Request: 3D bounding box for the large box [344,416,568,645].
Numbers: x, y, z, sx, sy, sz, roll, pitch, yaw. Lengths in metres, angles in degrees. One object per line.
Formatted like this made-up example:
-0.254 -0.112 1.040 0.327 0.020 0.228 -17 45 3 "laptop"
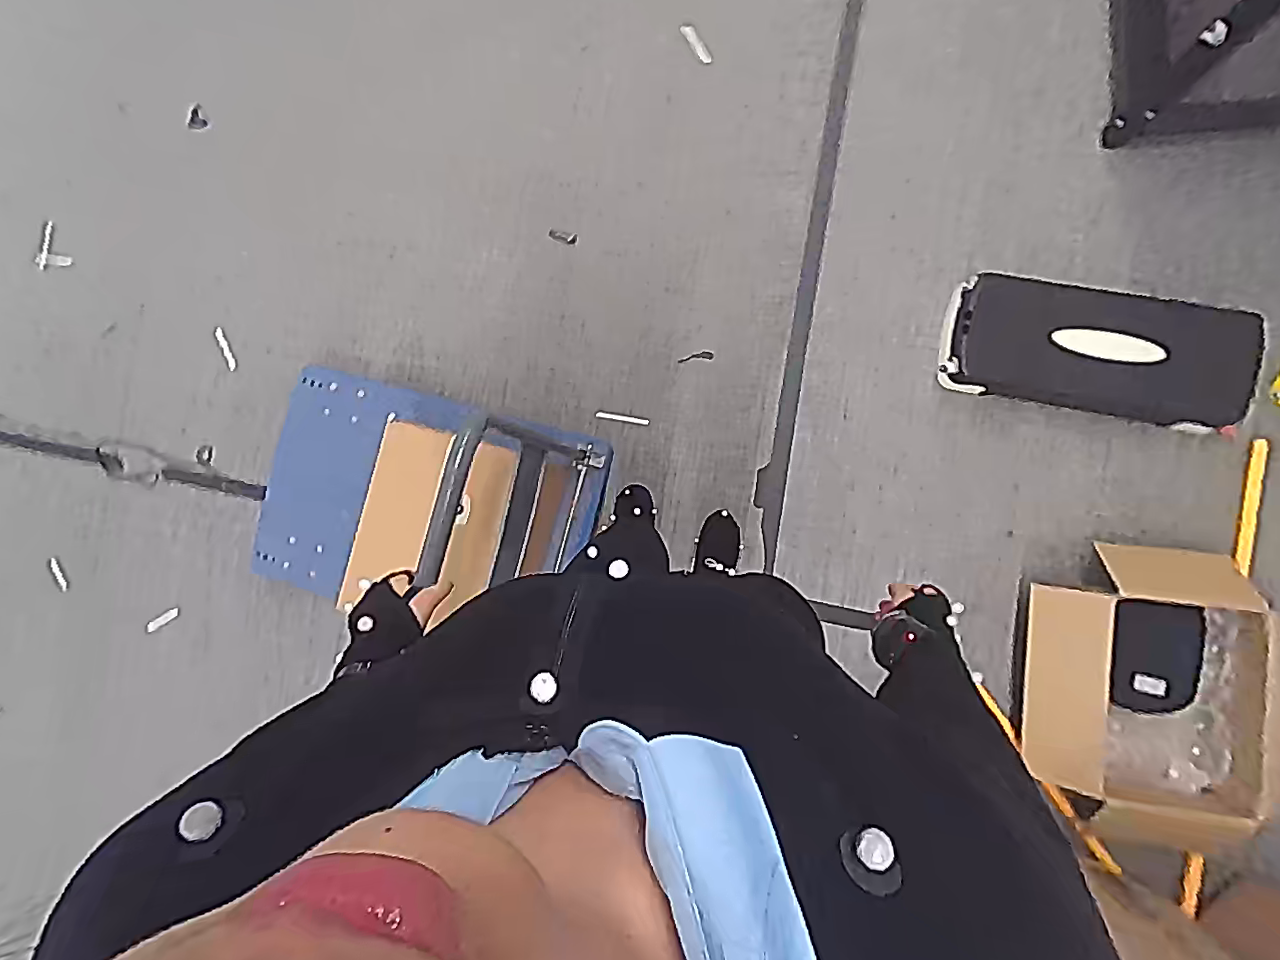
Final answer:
-0.390 0.107 1.227 0.320 0.320 0.408 16 89 7 "large box"
